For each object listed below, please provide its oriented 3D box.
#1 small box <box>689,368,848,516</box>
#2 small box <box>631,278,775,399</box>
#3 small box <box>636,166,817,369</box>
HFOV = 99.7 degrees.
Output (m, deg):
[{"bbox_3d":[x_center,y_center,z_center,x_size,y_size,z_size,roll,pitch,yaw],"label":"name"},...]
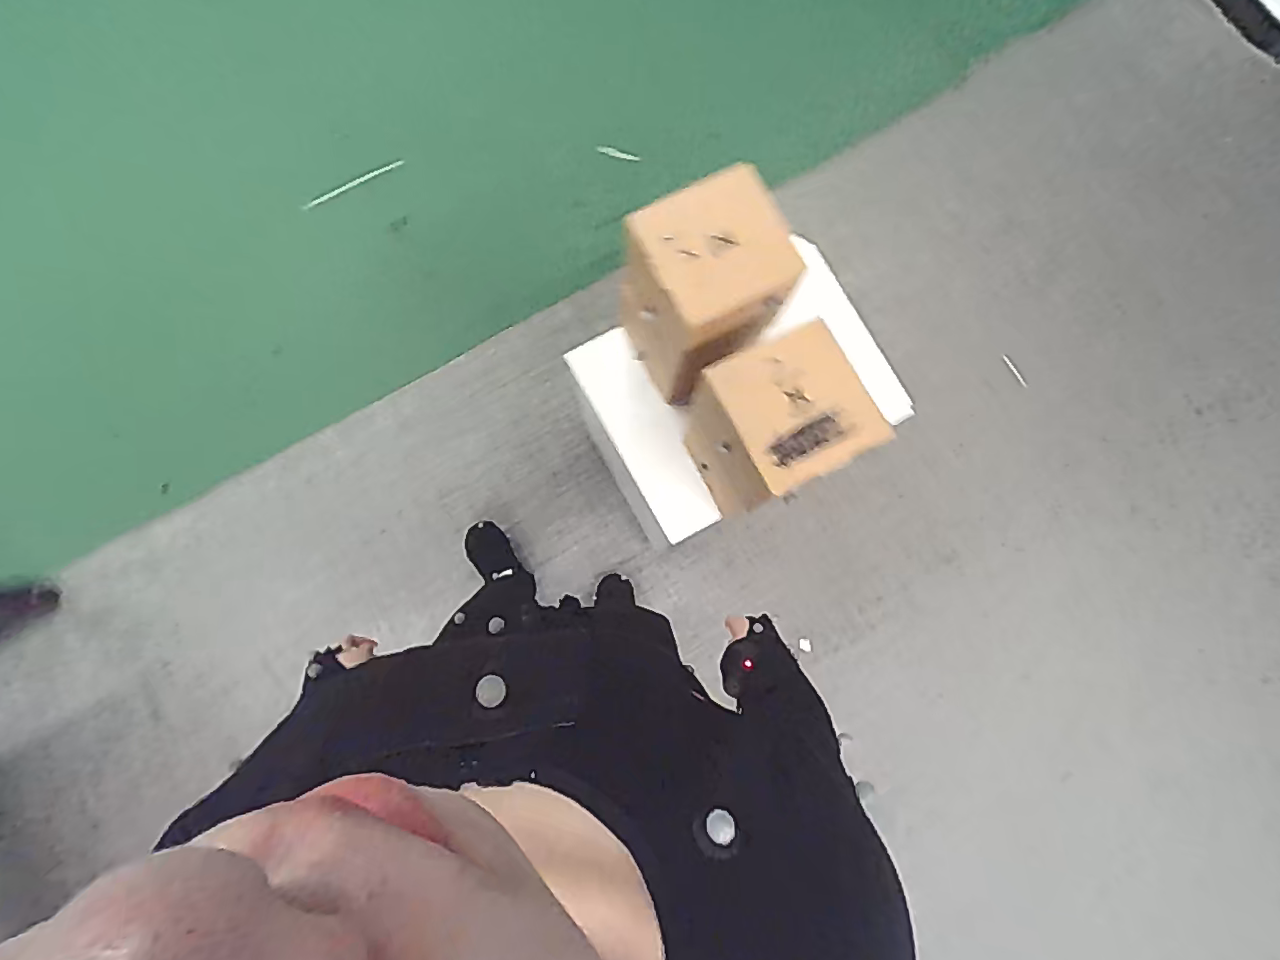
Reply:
[{"bbox_3d":[0.197,-0.053,0.883,0.179,0.176,0.168,-26,82,-5],"label":"small box"},{"bbox_3d":[0.094,-0.260,0.909,0.179,0.176,0.168,-27,84,-5],"label":"small box"},{"bbox_3d":[0.106,-0.280,0.747,0.179,0.176,0.168,-26,84,-5],"label":"small box"}]
